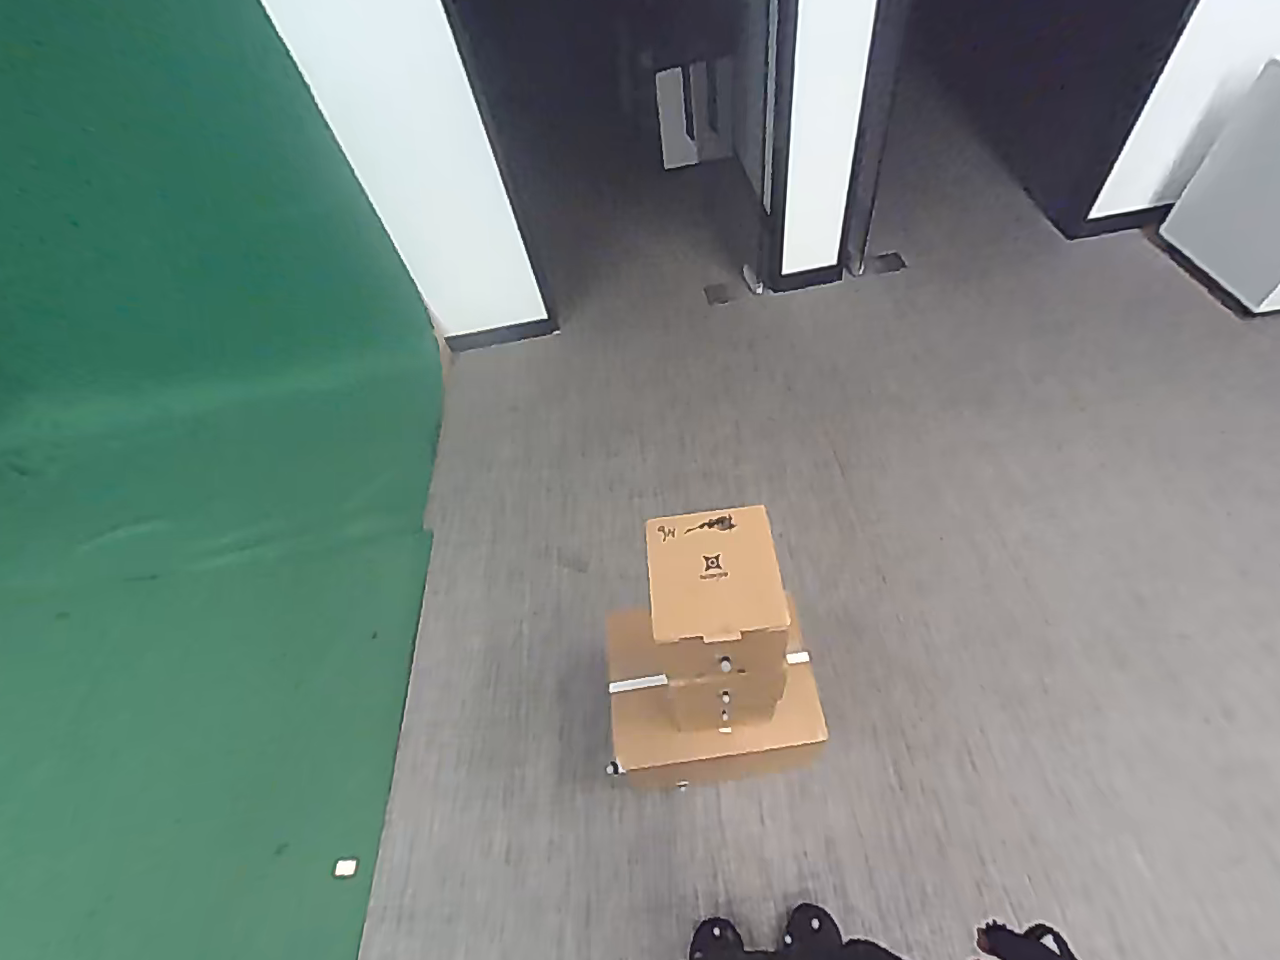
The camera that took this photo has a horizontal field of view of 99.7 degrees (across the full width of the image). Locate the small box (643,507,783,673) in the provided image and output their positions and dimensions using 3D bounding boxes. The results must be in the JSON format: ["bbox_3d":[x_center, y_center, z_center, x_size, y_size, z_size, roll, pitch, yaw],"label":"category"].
[{"bbox_3d":[0.100,0.161,0.753,0.168,0.176,0.179,-7,54,6],"label":"small box"}]

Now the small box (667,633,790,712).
[{"bbox_3d":[0.126,0.263,0.879,0.179,0.176,0.168,-11,54,1],"label":"small box"}]

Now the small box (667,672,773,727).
[{"bbox_3d":[0.143,0.355,1.014,0.179,0.176,0.168,-8,54,3],"label":"small box"}]
